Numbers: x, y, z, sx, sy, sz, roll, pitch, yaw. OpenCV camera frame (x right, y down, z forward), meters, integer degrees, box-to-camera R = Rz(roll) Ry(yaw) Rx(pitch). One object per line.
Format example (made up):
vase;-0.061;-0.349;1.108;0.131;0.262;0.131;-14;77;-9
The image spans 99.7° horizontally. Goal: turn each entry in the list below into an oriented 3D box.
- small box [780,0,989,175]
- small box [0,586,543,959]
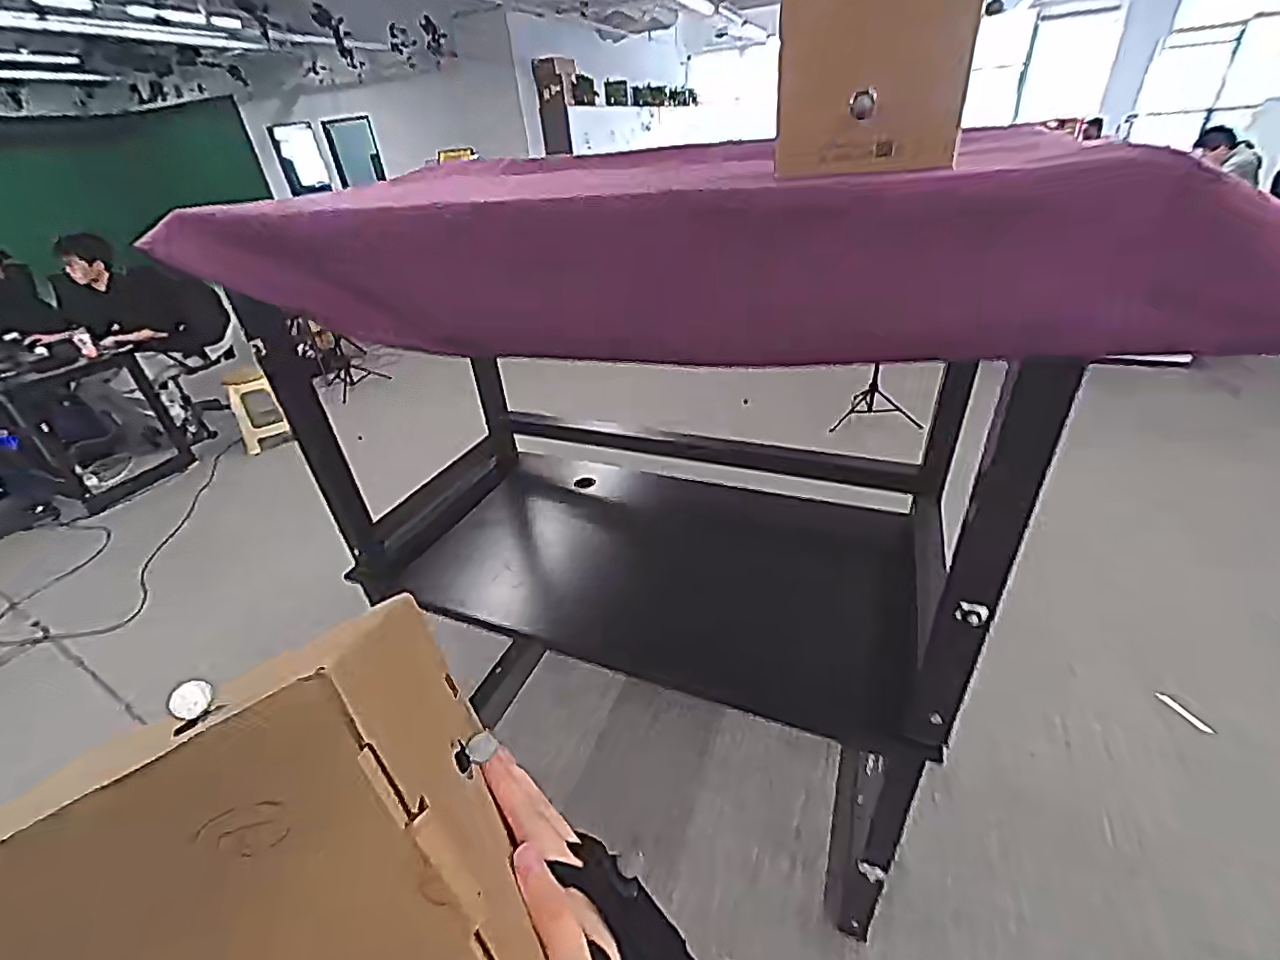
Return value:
small box;0.241;-0.406;0.538;0.168;0.176;0.179;10;35;25
small box;-0.160;0.162;0.234;0.179;0.168;0.176;-27;4;-15
